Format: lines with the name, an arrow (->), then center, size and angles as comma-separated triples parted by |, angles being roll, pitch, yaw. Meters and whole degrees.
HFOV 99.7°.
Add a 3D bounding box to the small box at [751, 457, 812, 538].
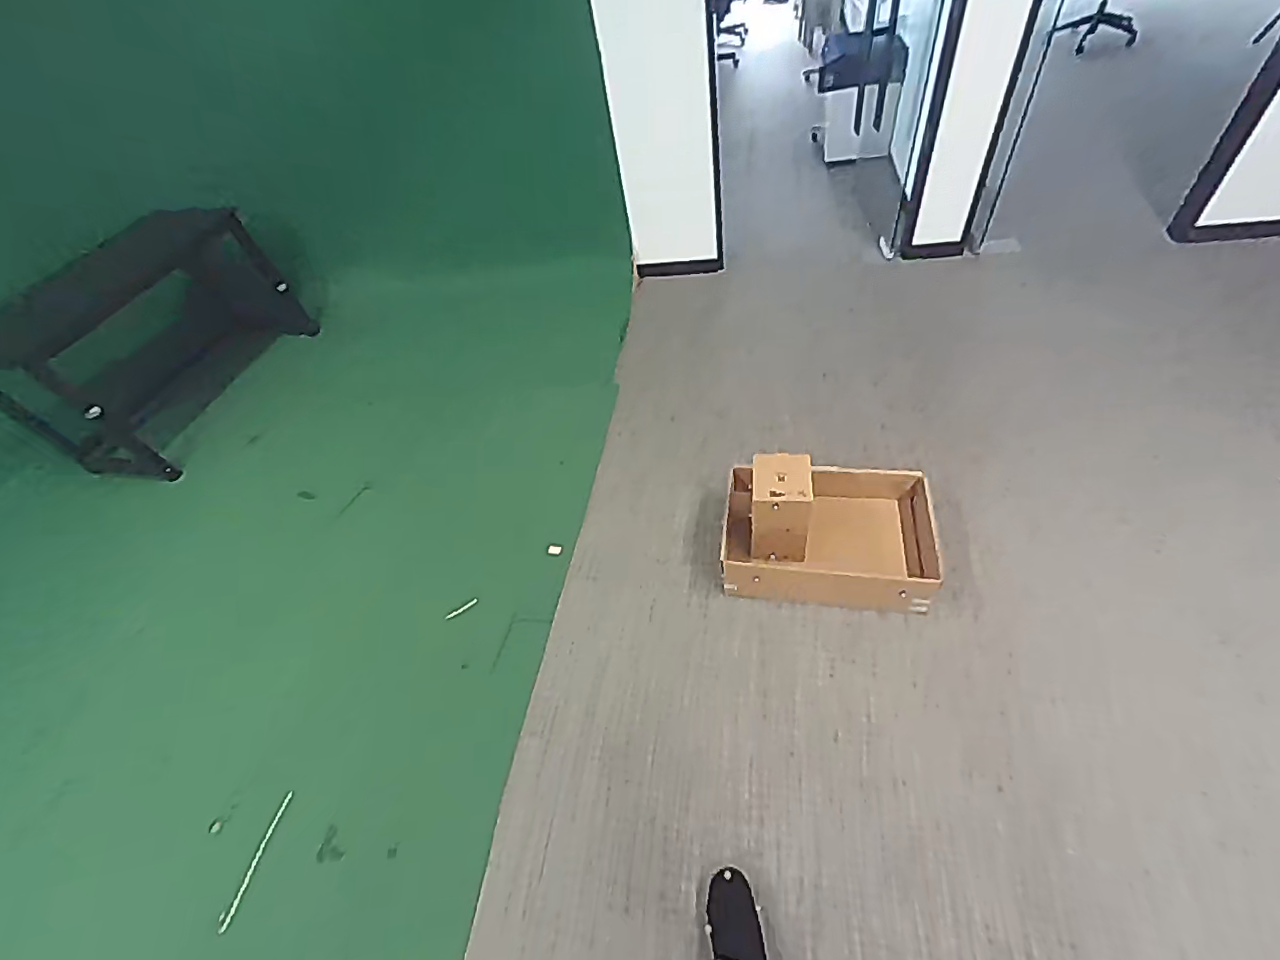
small box -> 0.415, 0.050, 1.605 | 0.168, 0.176, 0.179 | 1, 50, 12
